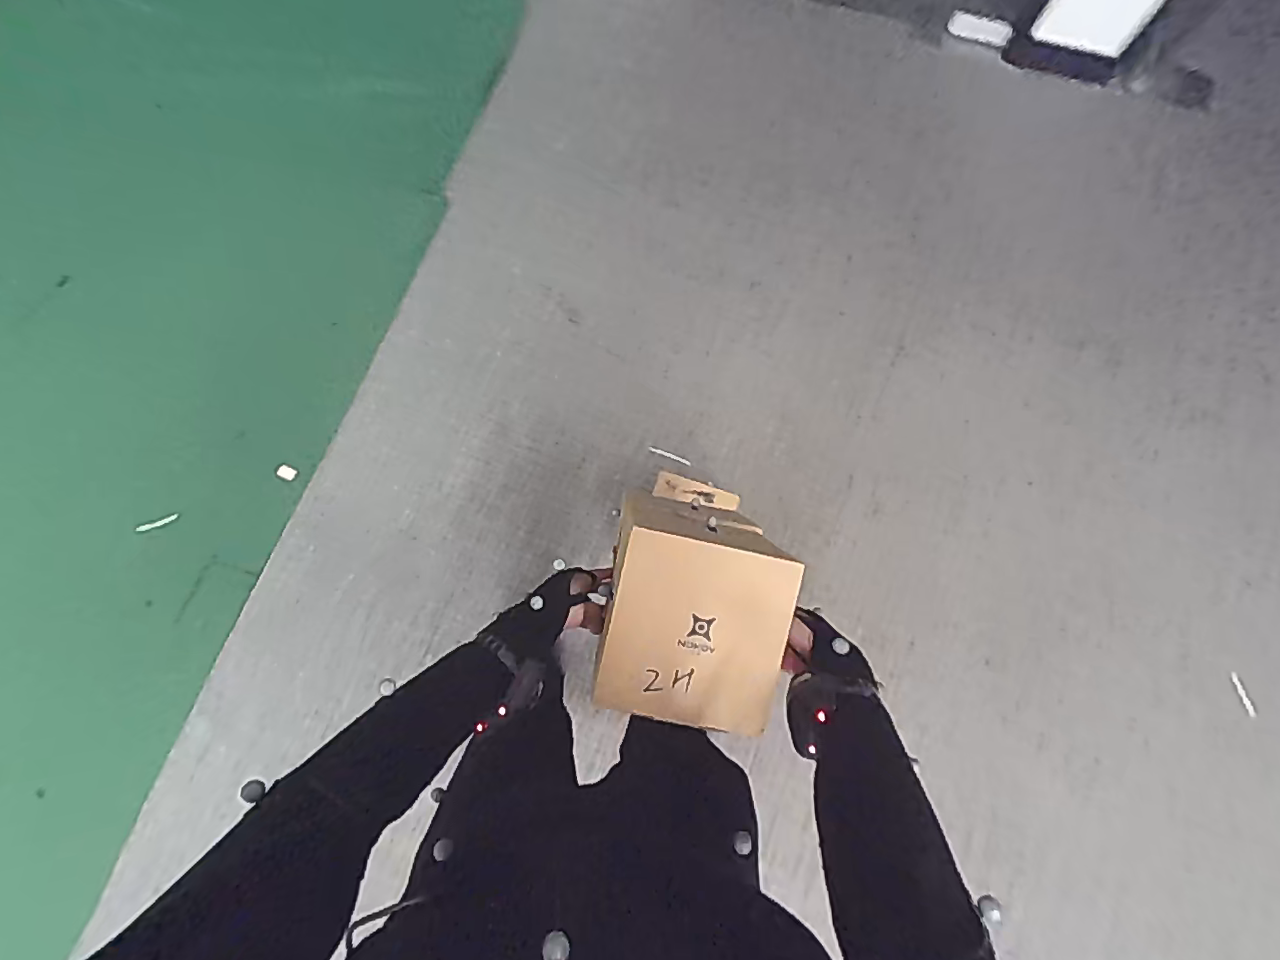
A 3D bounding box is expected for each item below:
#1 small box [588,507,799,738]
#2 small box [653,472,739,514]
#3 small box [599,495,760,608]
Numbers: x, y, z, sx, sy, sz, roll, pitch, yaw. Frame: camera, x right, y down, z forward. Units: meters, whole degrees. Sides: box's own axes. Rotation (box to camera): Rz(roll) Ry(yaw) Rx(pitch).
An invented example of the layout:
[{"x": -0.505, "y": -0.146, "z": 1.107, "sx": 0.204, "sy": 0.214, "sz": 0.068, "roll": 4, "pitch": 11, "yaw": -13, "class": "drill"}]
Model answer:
[{"x": 0.045, "y": 0.133, "z": 0.573, "sx": 0.168, "sy": 0.176, "sz": 0.179, "roll": 13, "pitch": 93, "yaw": -3, "class": "small box"}, {"x": 0.095, "y": 0.103, "z": 1.122, "sx": 0.168, "sy": 0.176, "sz": 0.179, "roll": 19, "pitch": 81, "yaw": 7, "class": "small box"}, {"x": 0.045, "y": 0.117, "z": 0.738, "sx": 0.179, "sy": 0.176, "sz": 0.168, "roll": 10, "pitch": 93, "yaw": -3, "class": "small box"}]
